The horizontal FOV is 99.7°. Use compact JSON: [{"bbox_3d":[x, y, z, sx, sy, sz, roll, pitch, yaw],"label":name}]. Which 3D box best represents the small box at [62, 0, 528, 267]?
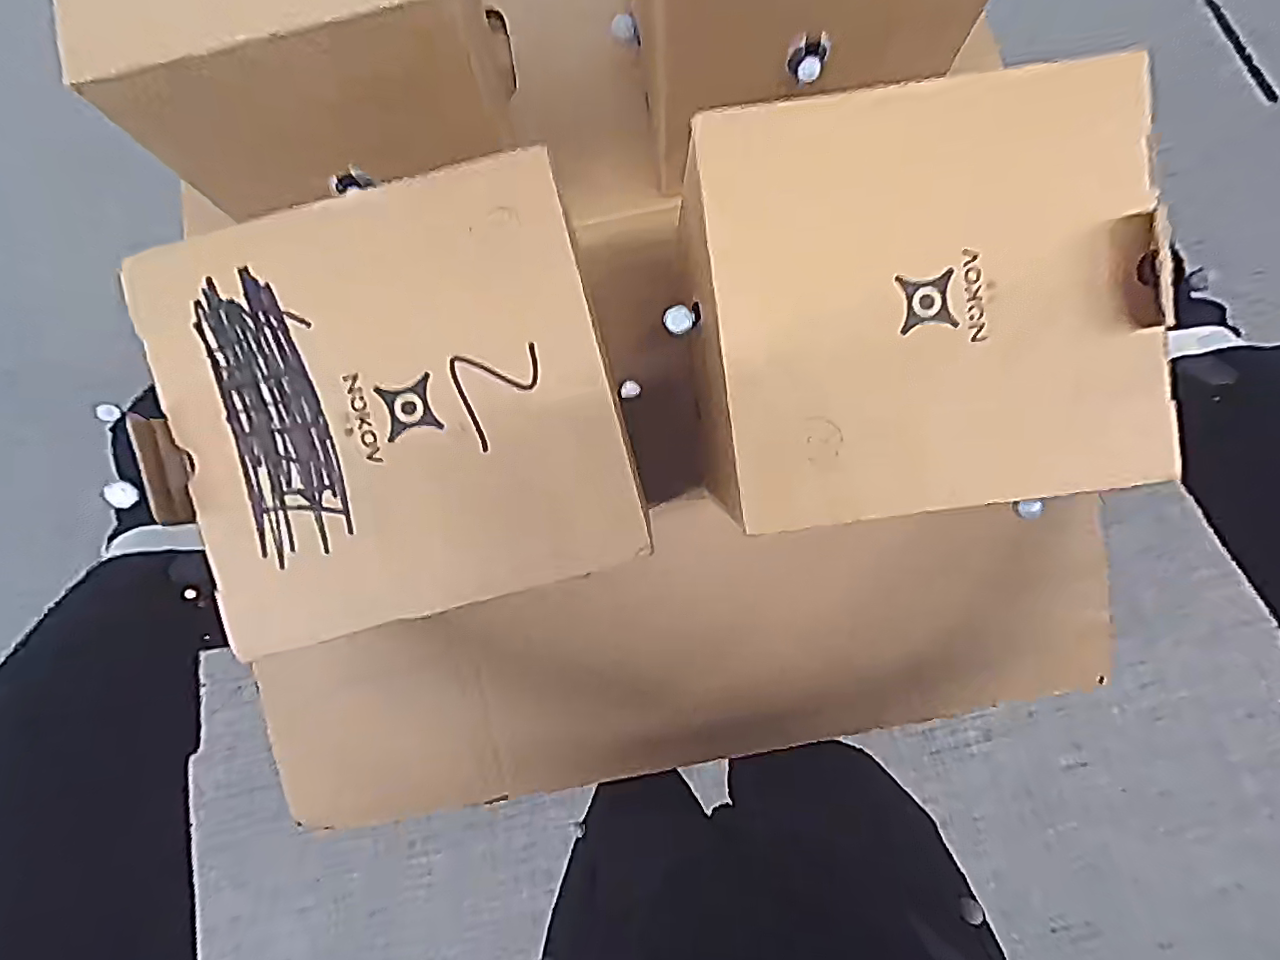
[{"bbox_3d":[-0.175,-0.250,0.320,0.168,0.176,0.179,-12,80,0],"label":"small box"}]

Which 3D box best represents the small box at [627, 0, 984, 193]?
[{"bbox_3d":[0.083,-0.304,0.314,0.179,0.176,0.168,-10,81,2],"label":"small box"}]
